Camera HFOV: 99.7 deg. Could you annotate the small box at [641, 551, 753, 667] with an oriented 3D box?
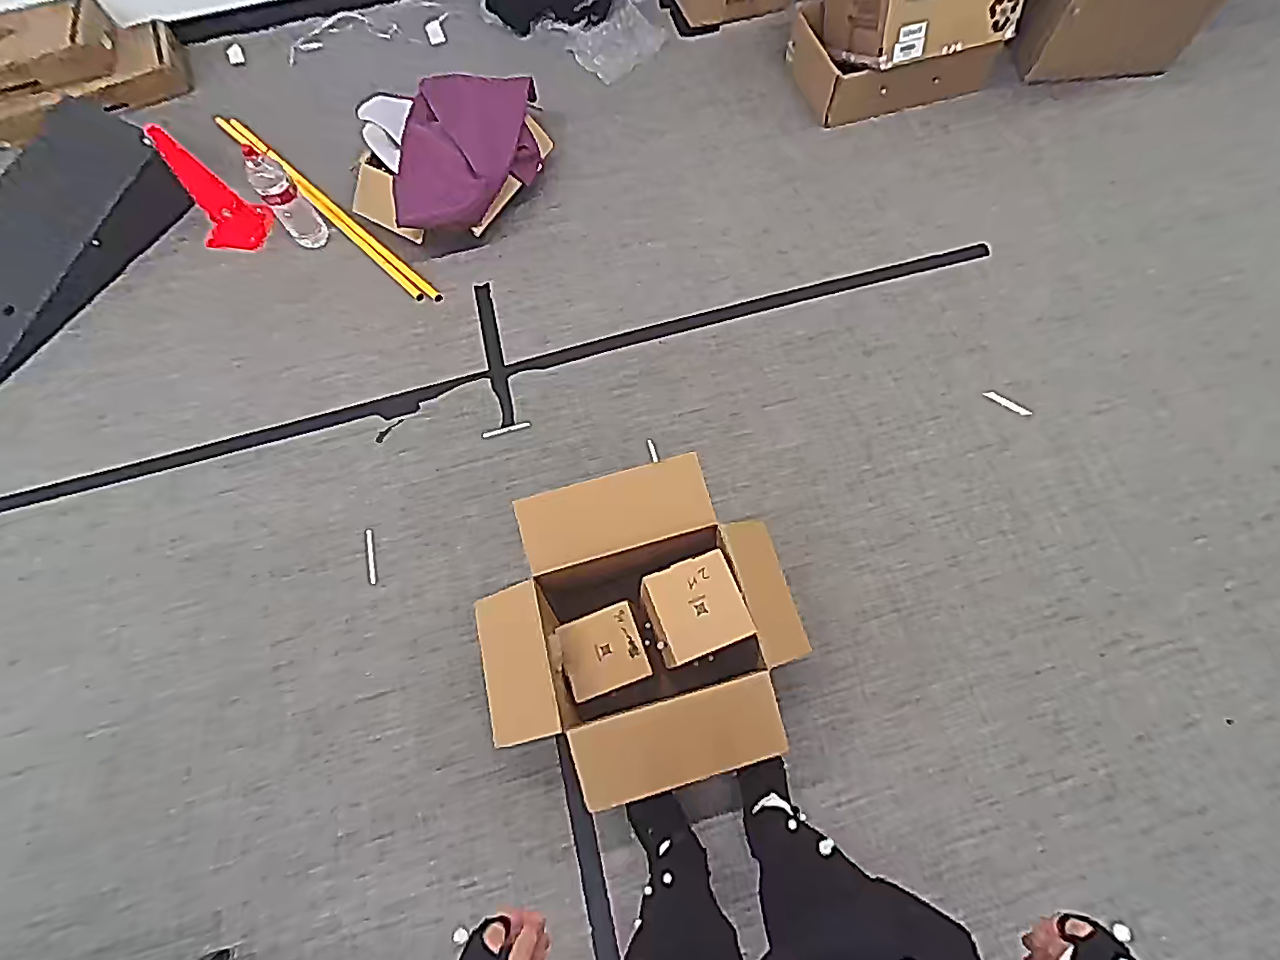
[{"bbox_3d":[0.107,0.267,1.099,0.168,0.176,0.179,-19,71,-9],"label":"small box"}]
